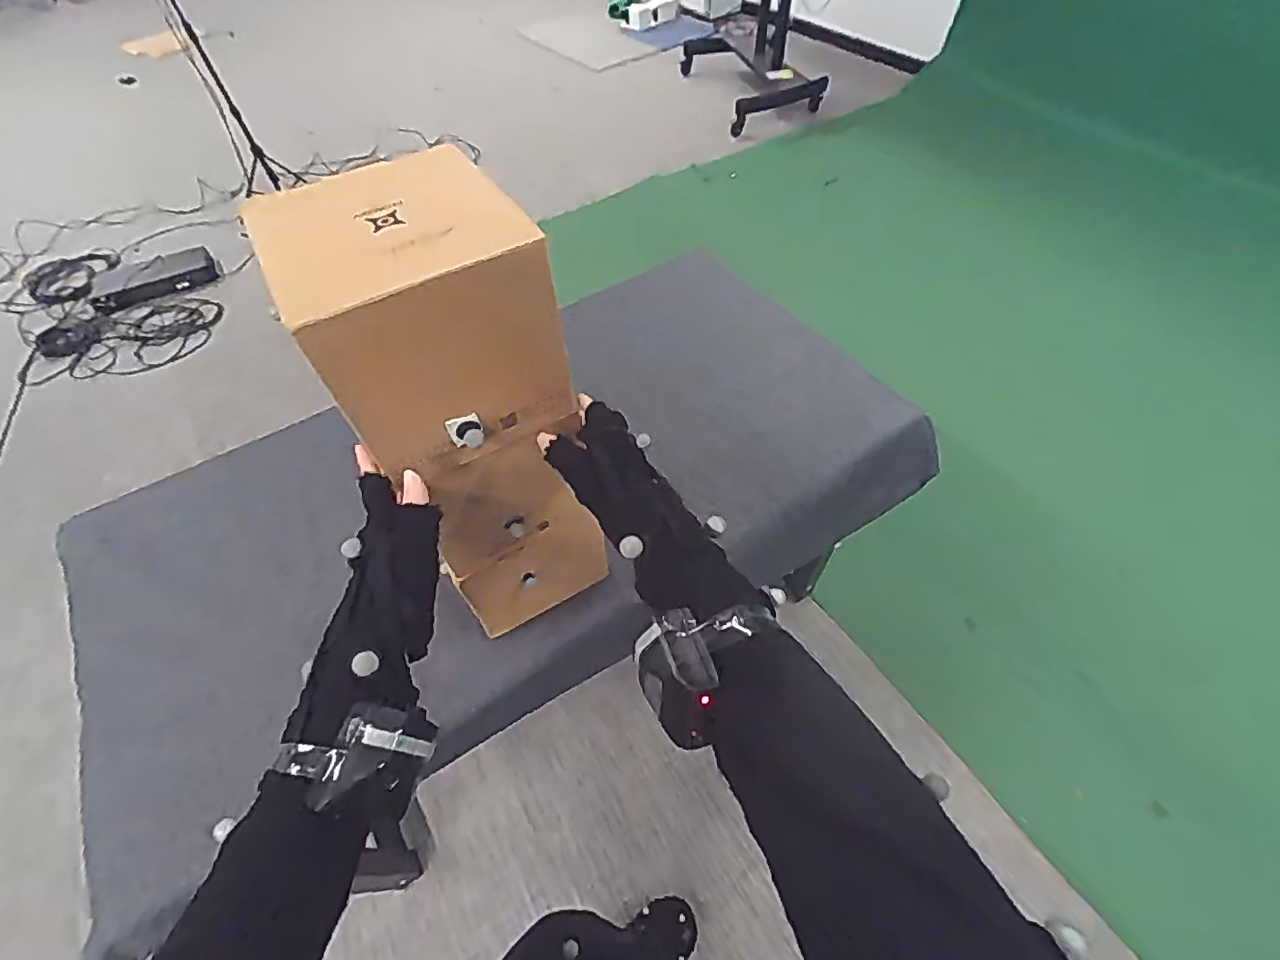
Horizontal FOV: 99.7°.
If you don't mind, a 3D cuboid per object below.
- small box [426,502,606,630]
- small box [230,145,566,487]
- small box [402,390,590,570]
[{"bbox_3d":[-0.160,0.064,0.696,0.179,0.176,0.168,-27,57,-15],"label":"small box"},{"bbox_3d":[-0.178,-0.128,0.433,0.168,0.176,0.179,-29,59,-16],"label":"small box"},{"bbox_3d":[-0.169,-0.040,0.569,0.168,0.176,0.179,-29,56,-17],"label":"small box"}]
